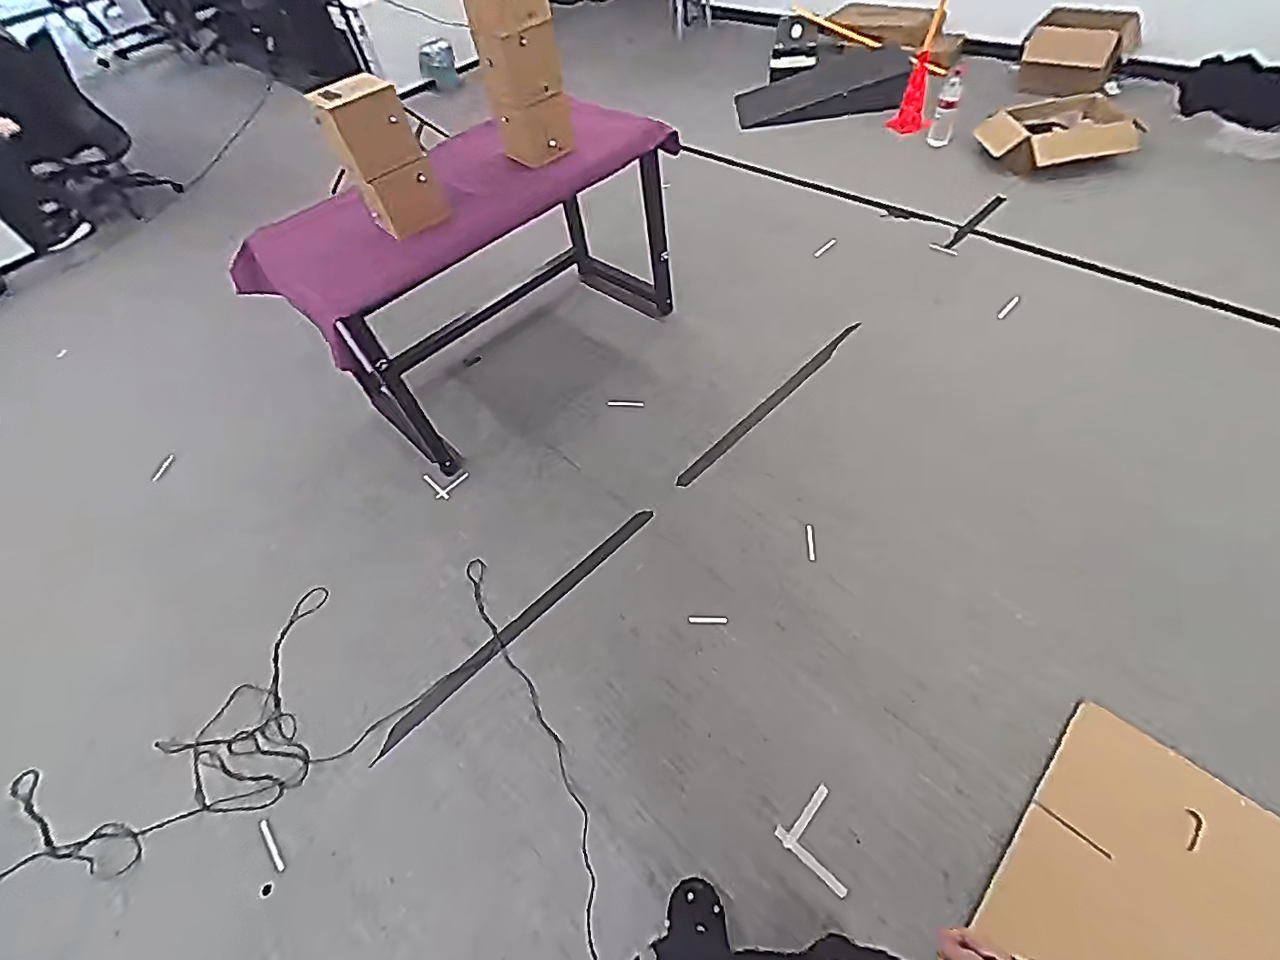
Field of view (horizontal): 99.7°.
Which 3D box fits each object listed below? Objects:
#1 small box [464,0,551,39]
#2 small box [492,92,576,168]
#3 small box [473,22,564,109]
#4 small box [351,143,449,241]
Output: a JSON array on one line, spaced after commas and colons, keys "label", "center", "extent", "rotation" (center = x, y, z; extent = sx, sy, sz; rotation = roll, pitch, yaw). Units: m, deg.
[{"label": "small box", "center": [-0.360, -1.290, 1.421], "extent": [0.168, 0.176, 0.179], "rotation": [-37, 57, -17]}, {"label": "small box", "center": [-0.327, -1.105, 1.688], "extent": [0.168, 0.176, 0.179], "rotation": [-39, 58, -18]}, {"label": "small box", "center": [-0.344, -1.198, 1.555], "extent": [0.168, 0.176, 0.179], "rotation": [-37, 56, -17]}, {"label": "small box", "center": [-0.664, -0.809, 1.525], "extent": [0.179, 0.176, 0.168], "rotation": [-38, 57, -18]}]
